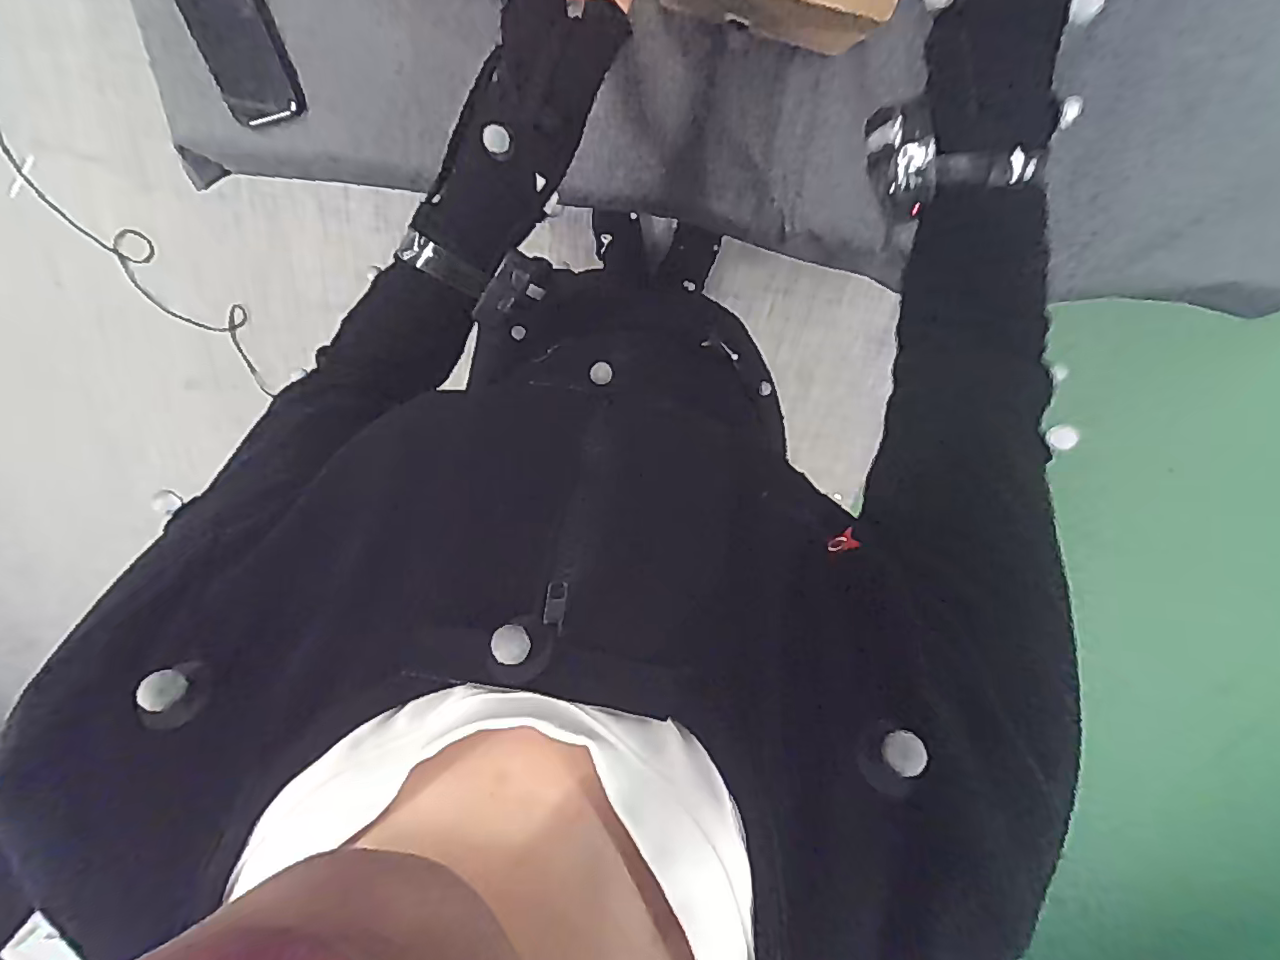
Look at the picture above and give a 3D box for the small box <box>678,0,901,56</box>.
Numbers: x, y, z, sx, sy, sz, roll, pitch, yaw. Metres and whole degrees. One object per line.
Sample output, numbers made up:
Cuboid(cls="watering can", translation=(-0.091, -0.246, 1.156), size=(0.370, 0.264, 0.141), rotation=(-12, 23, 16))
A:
Cuboid(cls="small box", translation=(0.117, -0.436, 0.384), size=(0.168, 0.176, 0.179), rotation=(13, 123, -2))
